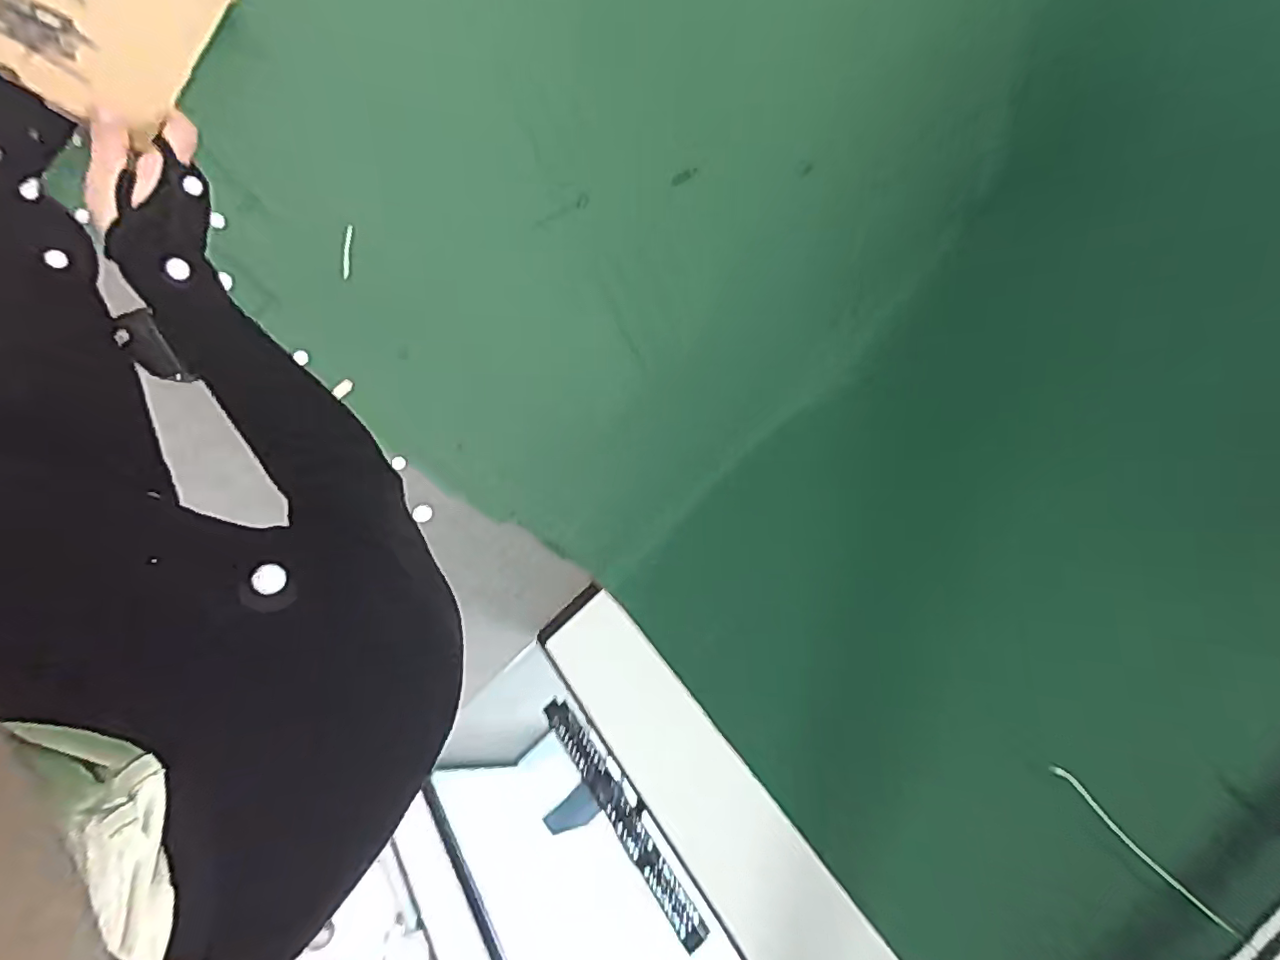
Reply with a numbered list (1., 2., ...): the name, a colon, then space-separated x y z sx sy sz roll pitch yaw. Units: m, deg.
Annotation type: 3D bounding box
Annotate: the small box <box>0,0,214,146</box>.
1. small box: -0.458 -0.403 0.398 0.179 0.176 0.168 -52 156 10
